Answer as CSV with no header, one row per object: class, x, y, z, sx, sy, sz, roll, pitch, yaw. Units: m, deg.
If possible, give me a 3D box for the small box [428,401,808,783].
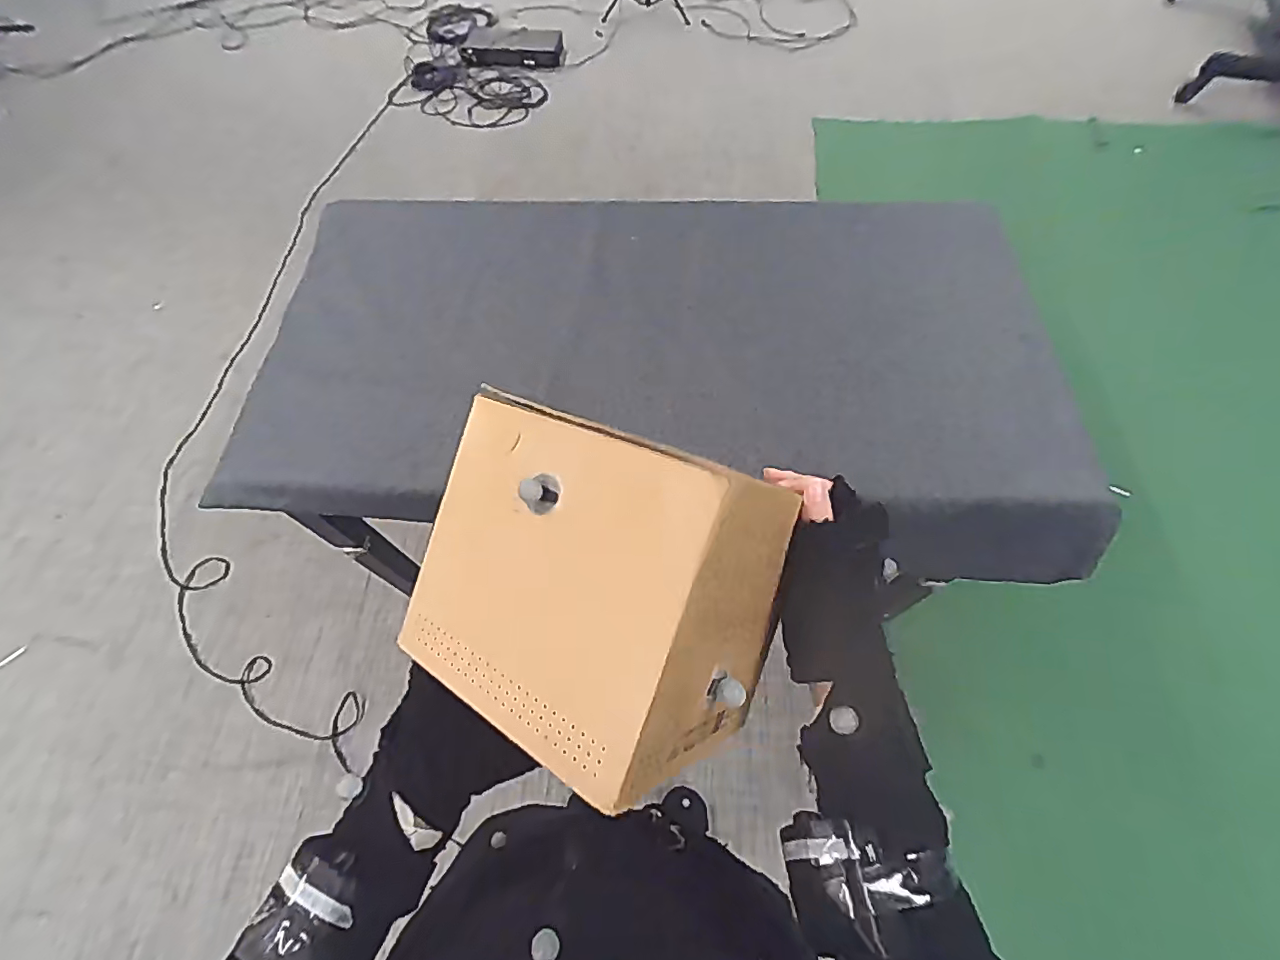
small box,-0.014,0.062,0.371,0.179,0.168,0.176,21,96,32
